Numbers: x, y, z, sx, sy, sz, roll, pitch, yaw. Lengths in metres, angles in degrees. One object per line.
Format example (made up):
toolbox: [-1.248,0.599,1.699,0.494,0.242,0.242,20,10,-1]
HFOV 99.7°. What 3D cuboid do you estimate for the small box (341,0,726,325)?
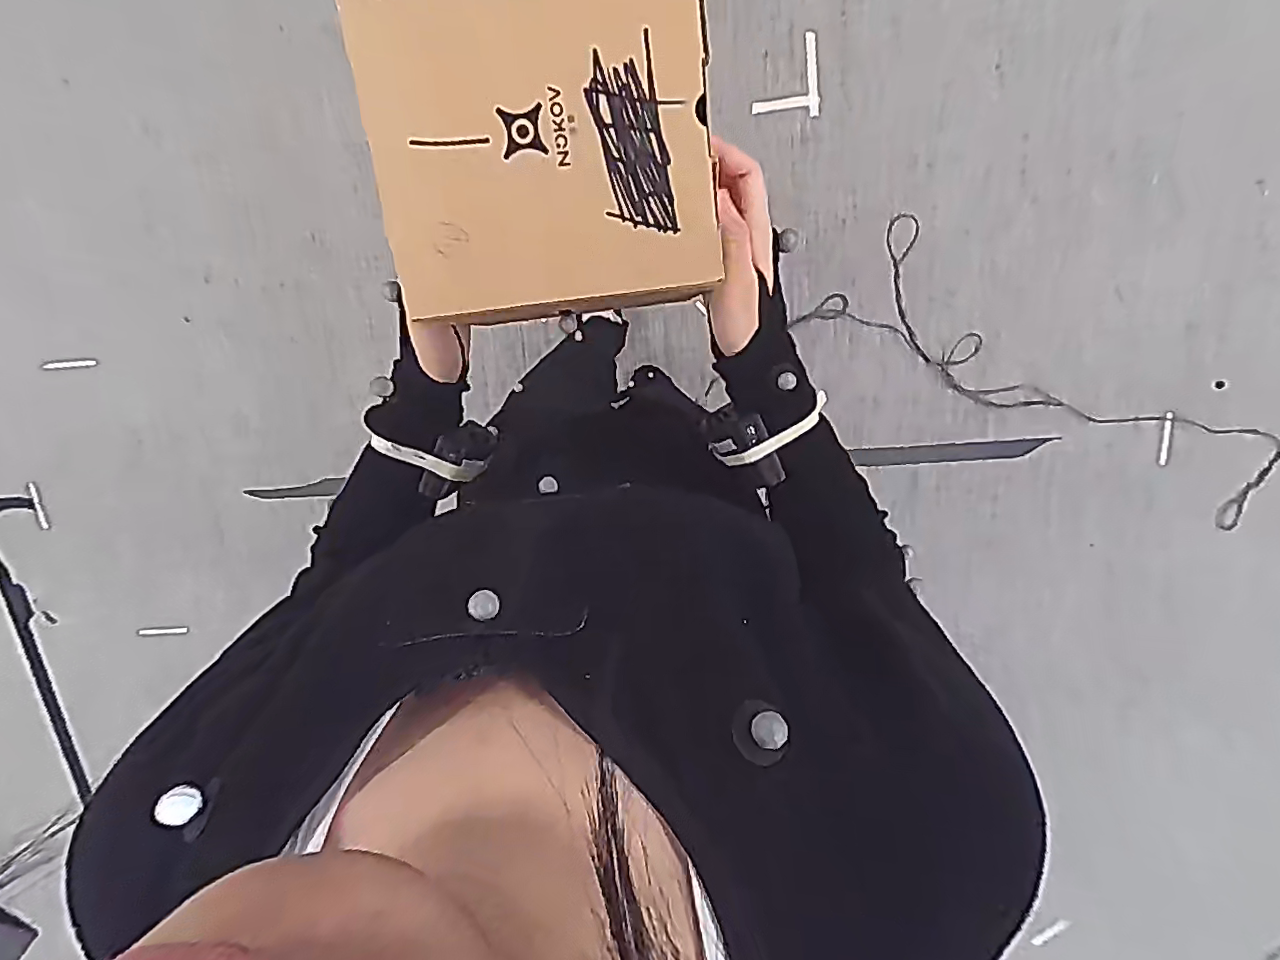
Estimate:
small box: [-0.050,-0.196,0.351,0.179,0.176,0.168,-7,105,1]
